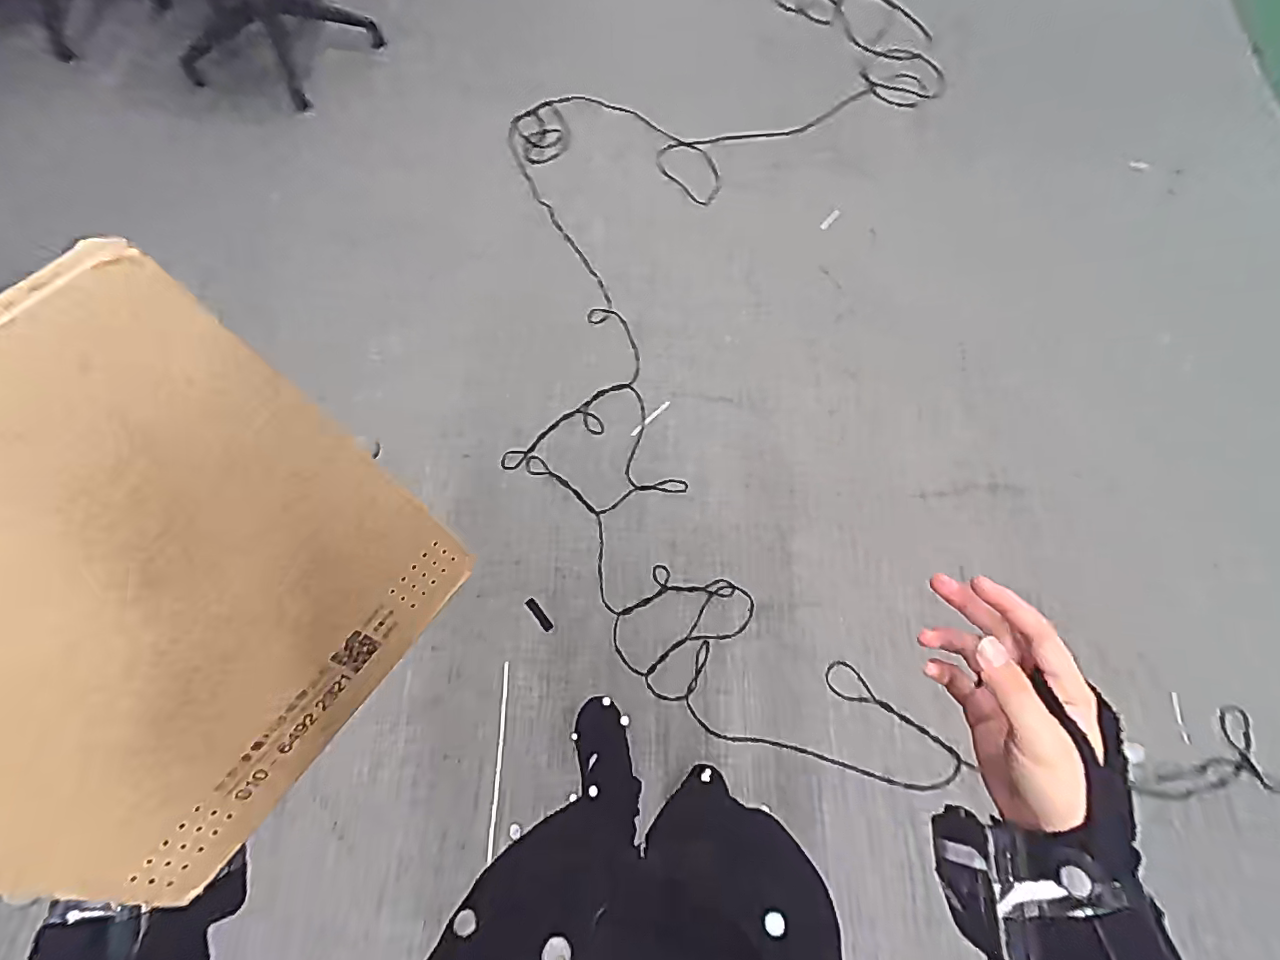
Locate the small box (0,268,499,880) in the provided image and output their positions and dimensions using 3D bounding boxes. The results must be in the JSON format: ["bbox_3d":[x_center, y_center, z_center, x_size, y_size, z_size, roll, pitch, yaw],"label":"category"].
[{"bbox_3d":[-0.200,0.032,0.233,0.179,0.176,0.168,19,63,40],"label":"small box"}]
